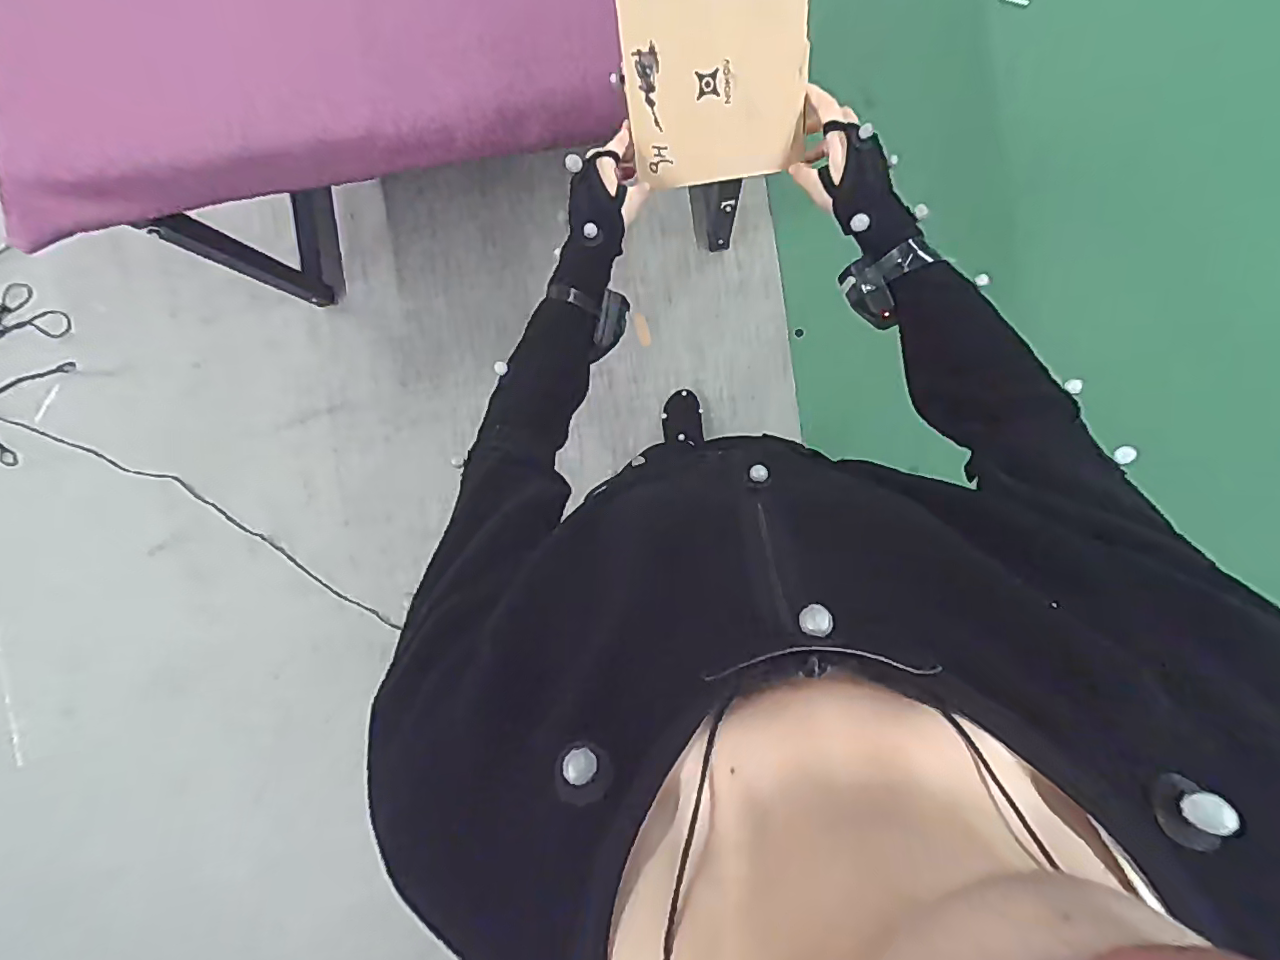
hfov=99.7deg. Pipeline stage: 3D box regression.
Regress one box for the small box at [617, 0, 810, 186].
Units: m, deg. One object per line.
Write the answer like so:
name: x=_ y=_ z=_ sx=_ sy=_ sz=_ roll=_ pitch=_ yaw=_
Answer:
small box: x=0.072 y=-0.427 z=0.581 sx=0.179 sy=0.176 sz=0.168 roll=-7 pitch=123 yaw=4
